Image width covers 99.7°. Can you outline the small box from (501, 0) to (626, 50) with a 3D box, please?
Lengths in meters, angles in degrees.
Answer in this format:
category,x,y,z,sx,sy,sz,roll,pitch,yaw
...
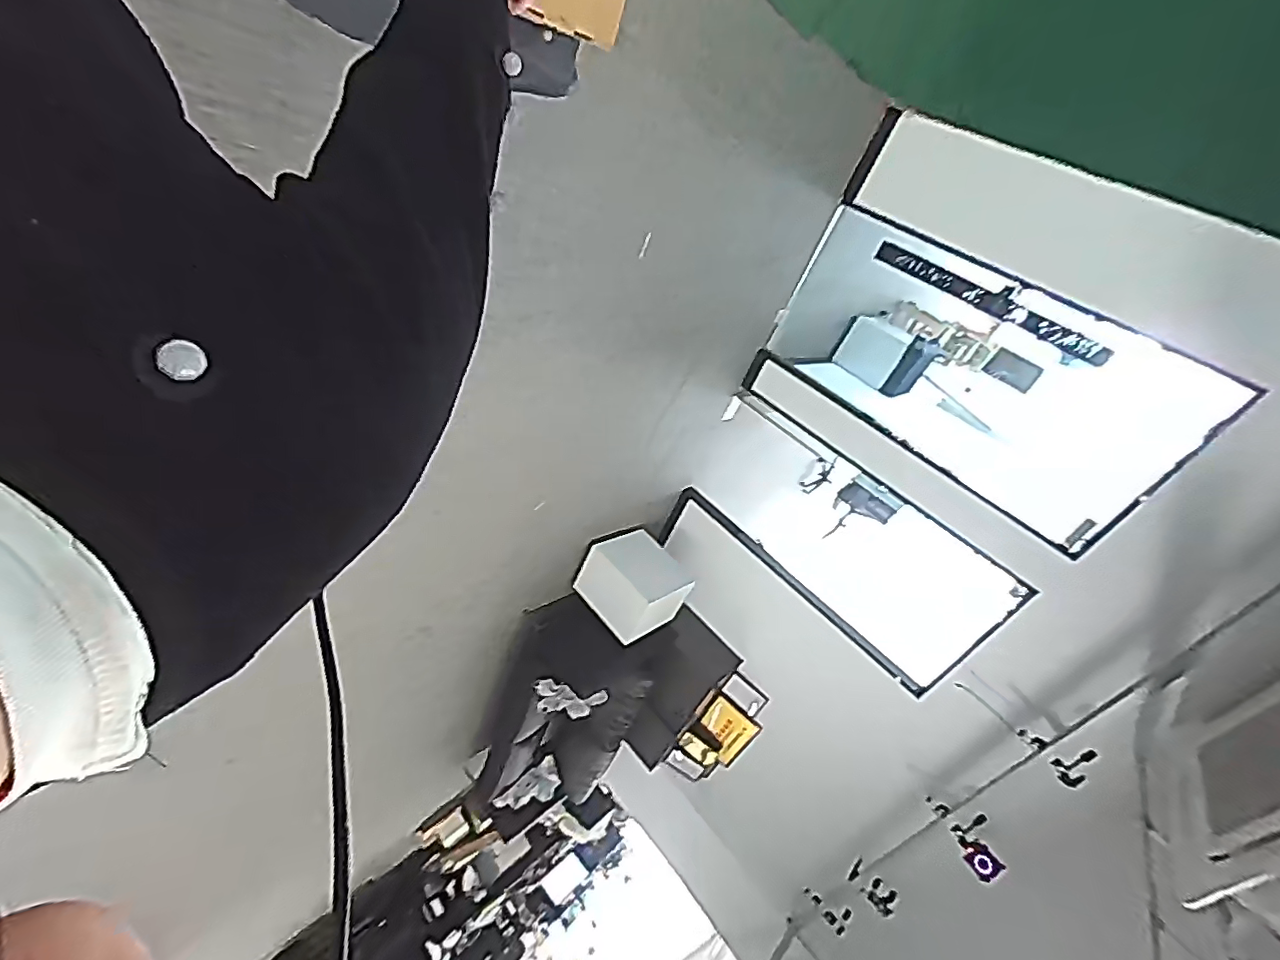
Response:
category,x,y,z,sx,sy,sz,roll,pitch,yaw
small box,-0.113,-0.645,0.618,0.168,0.176,0.179,-15,139,-45
